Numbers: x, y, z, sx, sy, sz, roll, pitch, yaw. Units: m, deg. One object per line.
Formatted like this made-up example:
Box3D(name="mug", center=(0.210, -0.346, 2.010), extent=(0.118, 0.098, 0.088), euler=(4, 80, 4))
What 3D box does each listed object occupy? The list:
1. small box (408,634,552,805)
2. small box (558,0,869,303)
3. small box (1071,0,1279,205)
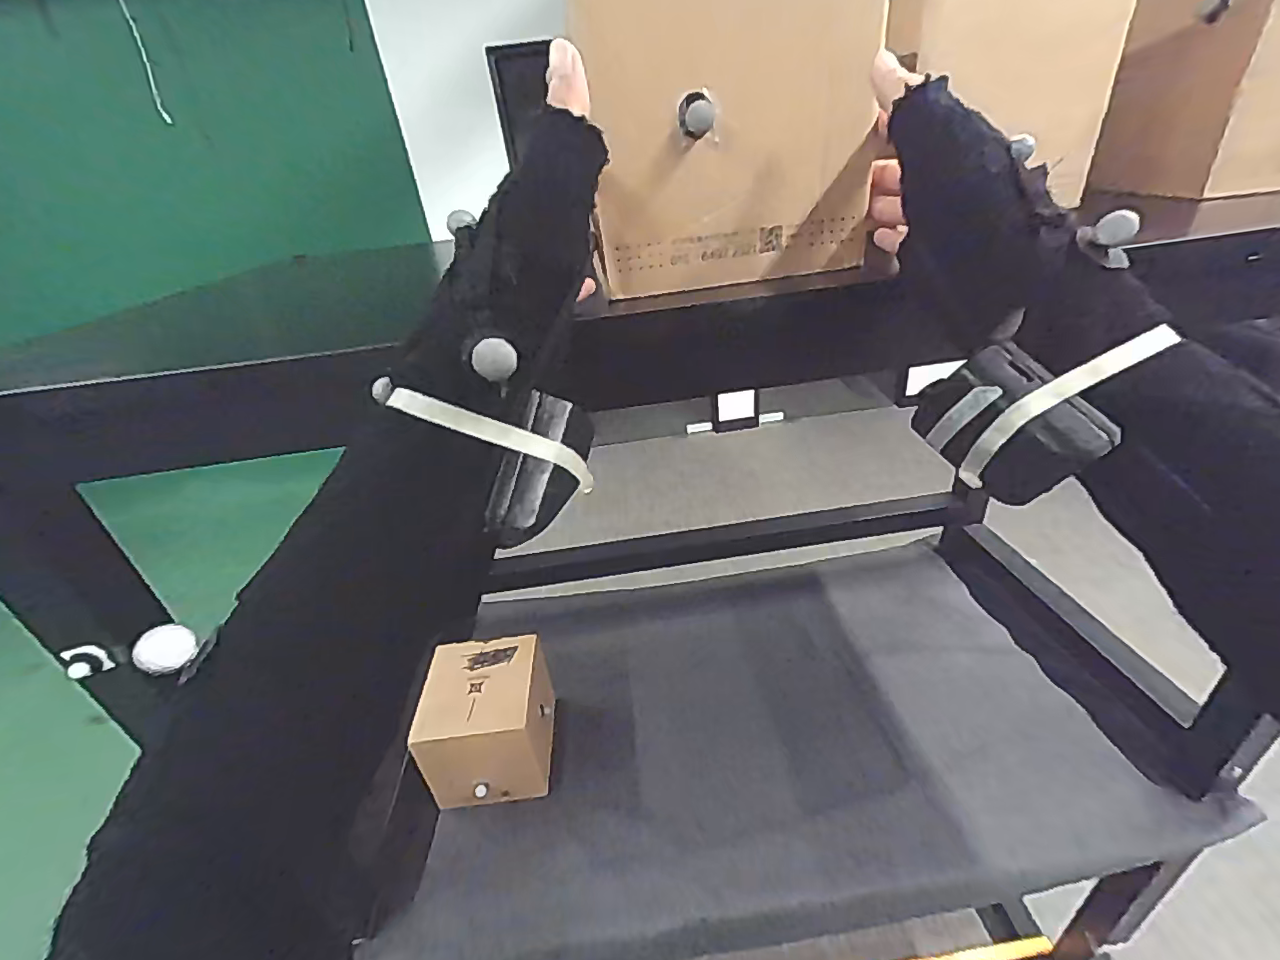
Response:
Box3D(name="small box", center=(-0.237, 0.373, 0.852), extent=(0.168, 0.176, 0.179), euler=(-7, 31, -1))
Box3D(name="small box", center=(0.041, -0.227, 0.373), extent=(0.168, 0.176, 0.179), euler=(-9, 30, -3))
Box3D(name="small box", center=(0.505, -0.327, 0.440), extent=(0.168, 0.176, 0.179), euler=(-2, 31, 8))
